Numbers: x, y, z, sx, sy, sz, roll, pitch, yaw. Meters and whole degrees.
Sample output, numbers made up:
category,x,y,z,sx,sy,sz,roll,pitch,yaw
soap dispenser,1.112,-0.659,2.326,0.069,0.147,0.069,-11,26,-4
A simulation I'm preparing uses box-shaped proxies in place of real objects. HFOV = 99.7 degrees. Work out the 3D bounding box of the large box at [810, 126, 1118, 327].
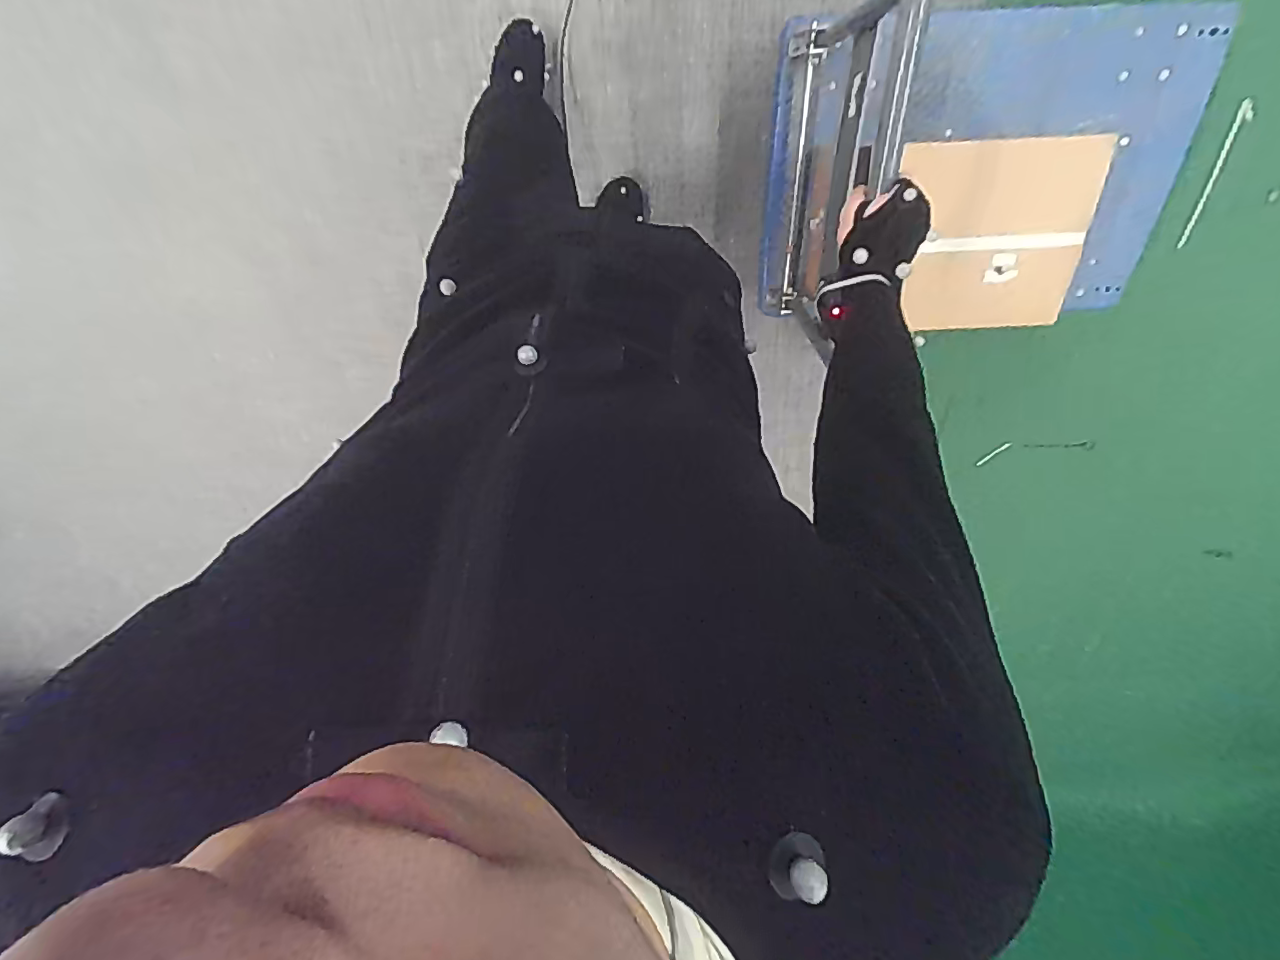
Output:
category,x,y,z,sx,sy,sz,roll,pitch,yaw
large box,0.593,-0.515,1.093,0.408,0.320,0.320,-2,122,1
